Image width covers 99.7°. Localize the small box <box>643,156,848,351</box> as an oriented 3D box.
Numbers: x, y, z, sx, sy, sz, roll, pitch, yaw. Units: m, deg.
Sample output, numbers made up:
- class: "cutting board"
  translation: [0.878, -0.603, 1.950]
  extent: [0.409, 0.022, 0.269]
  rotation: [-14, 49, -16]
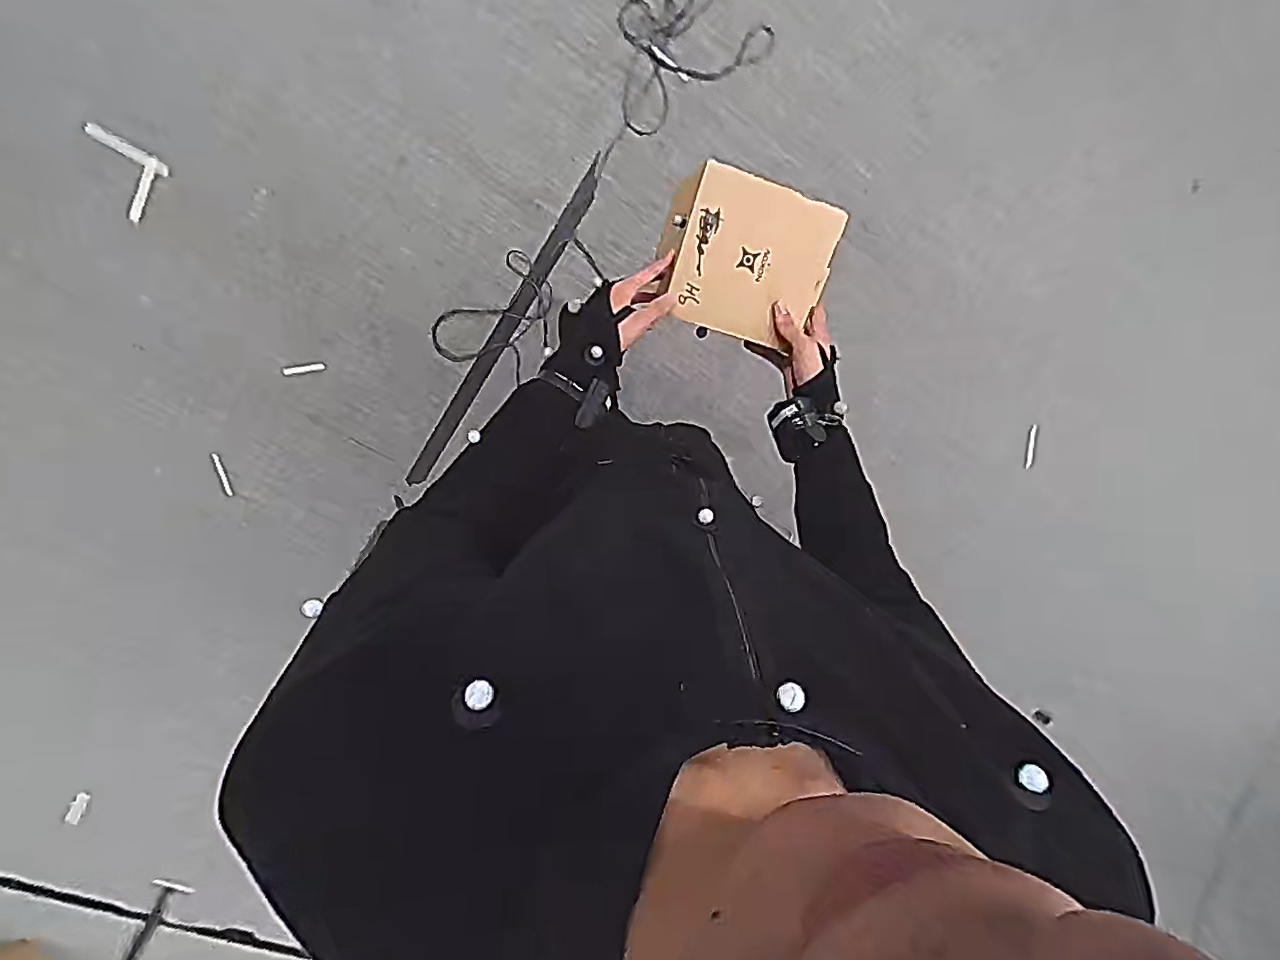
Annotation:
- class: "small box"
  translation: [0.116, -0.277, 0.678]
  extent: [0.179, 0.176, 0.168]
  rotation: [13, 109, -13]
